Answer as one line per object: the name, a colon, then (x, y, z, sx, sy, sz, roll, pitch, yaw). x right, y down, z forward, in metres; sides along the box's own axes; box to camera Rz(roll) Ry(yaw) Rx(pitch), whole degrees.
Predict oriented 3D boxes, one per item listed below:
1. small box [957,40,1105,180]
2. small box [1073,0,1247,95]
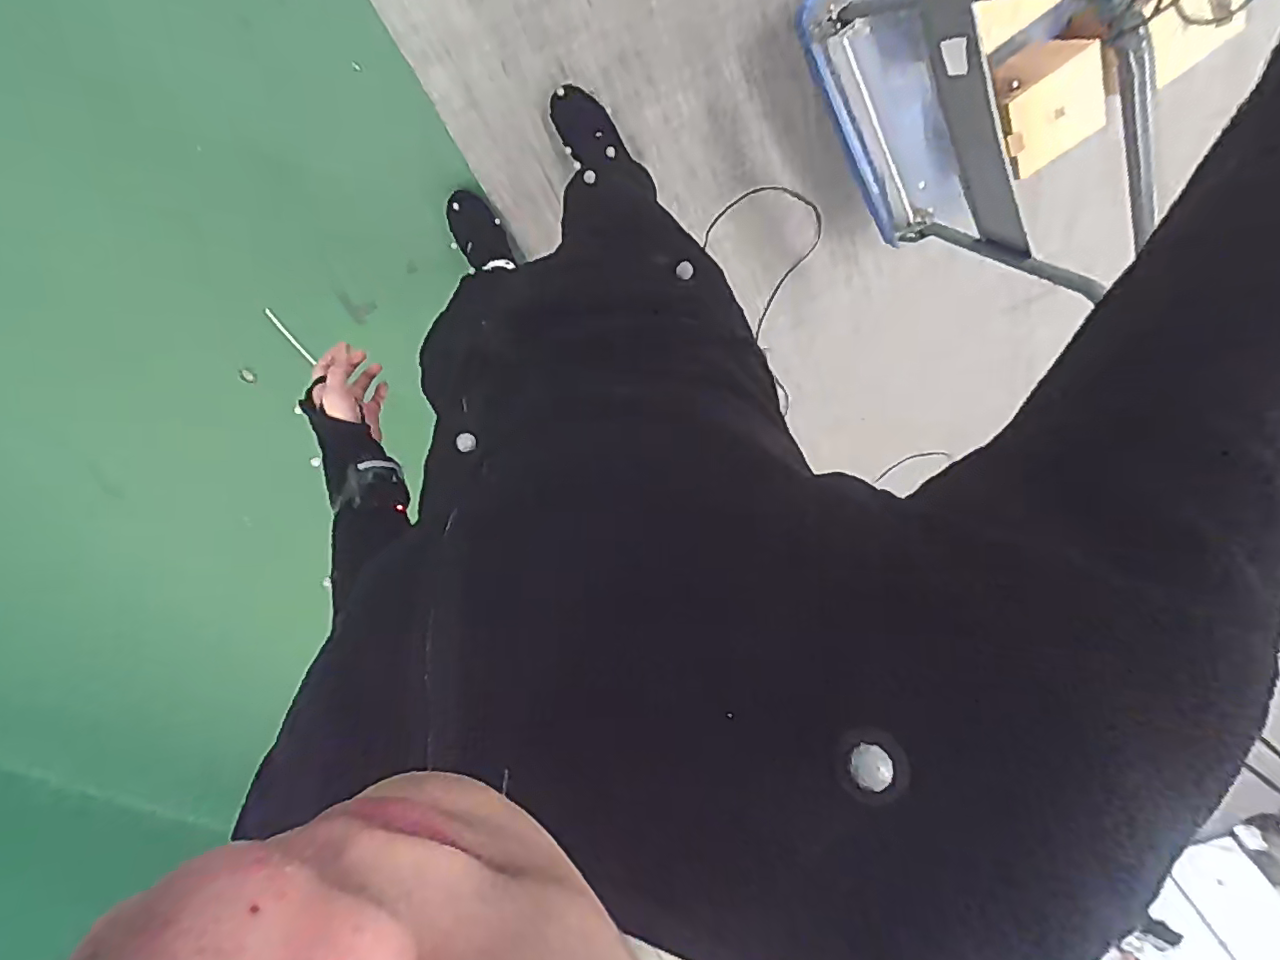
small box: (0.798, -0.762, 1.113, 0.179, 0.176, 0.168, -33, 127, 17)
small box: (0.995, -0.890, 1.043, 0.179, 0.176, 0.168, -35, 125, 19)
